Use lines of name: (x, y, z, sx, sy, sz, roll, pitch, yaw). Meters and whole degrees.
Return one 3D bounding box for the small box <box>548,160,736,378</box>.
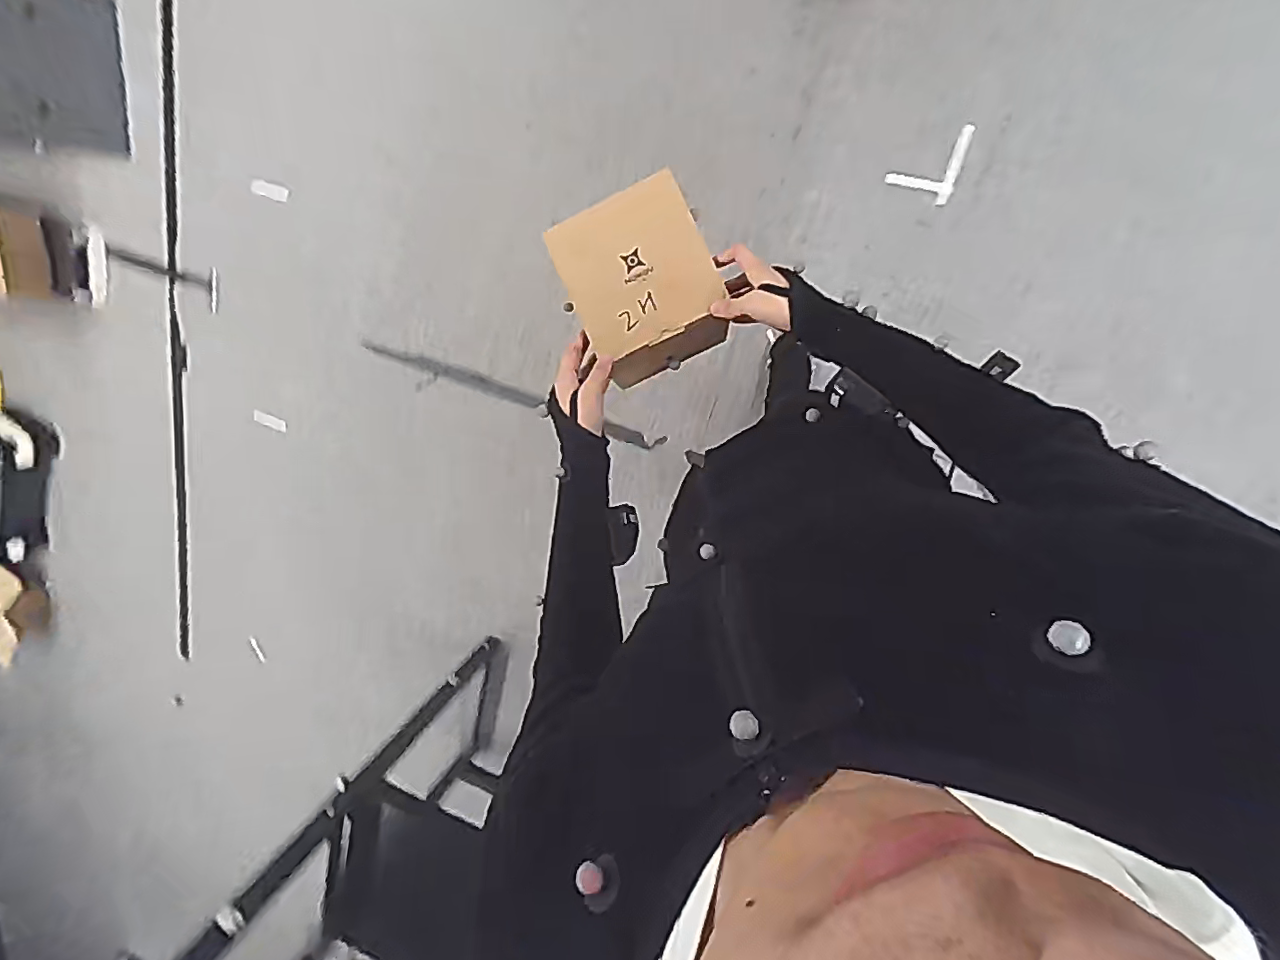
small box: (0.007, -0.249, 0.686, 0.168, 0.176, 0.179, -24, 89, 6)
